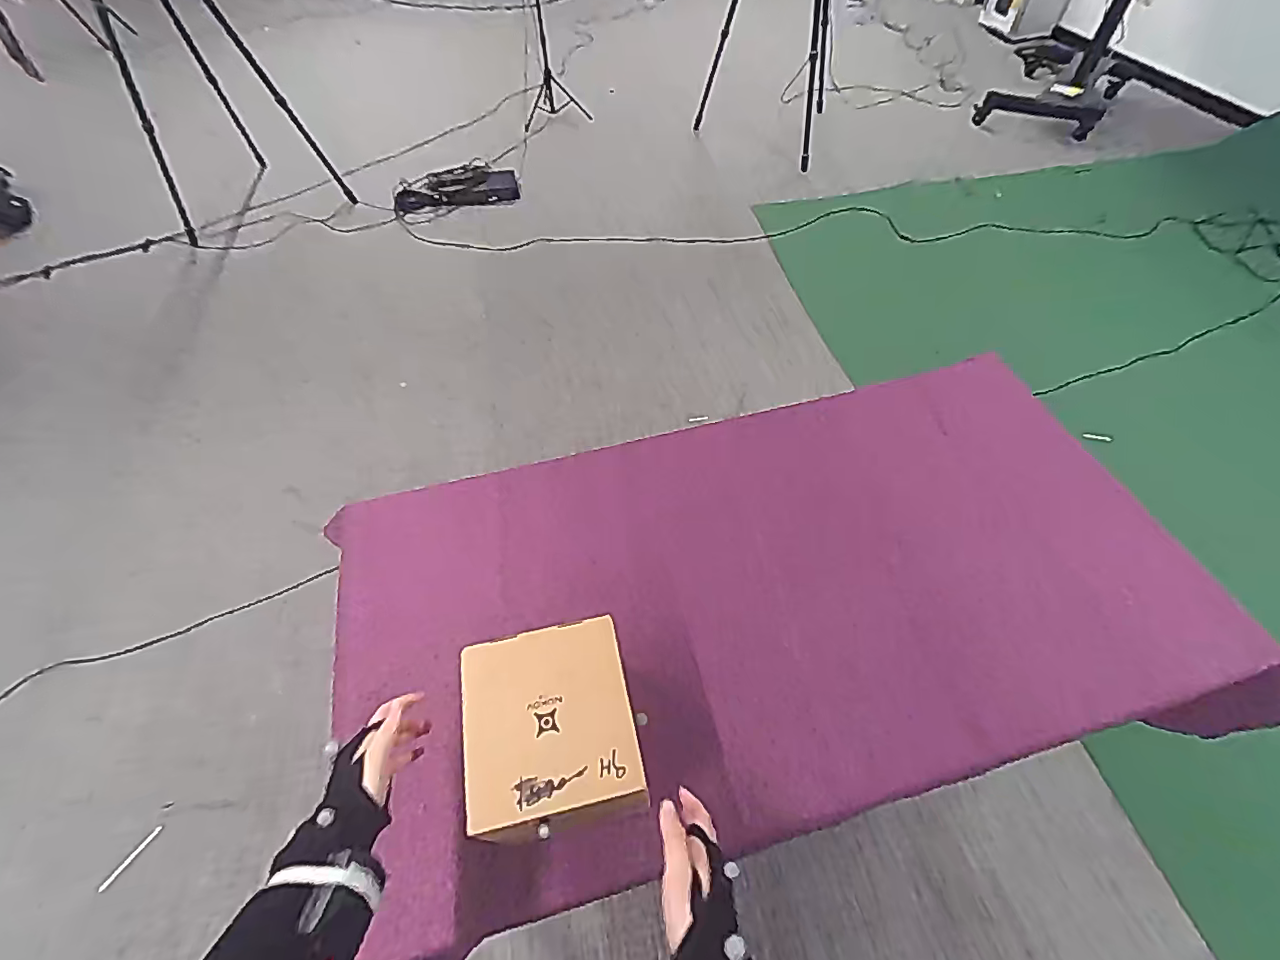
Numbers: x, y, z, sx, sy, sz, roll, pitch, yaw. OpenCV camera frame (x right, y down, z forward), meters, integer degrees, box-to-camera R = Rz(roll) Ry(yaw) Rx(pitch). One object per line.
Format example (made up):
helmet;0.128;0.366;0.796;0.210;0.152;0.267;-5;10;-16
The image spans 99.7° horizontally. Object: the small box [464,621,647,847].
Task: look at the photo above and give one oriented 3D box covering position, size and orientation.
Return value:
small box;-0.089;0.284;0.600;0.168;0.176;0.179;-11;54;-5
